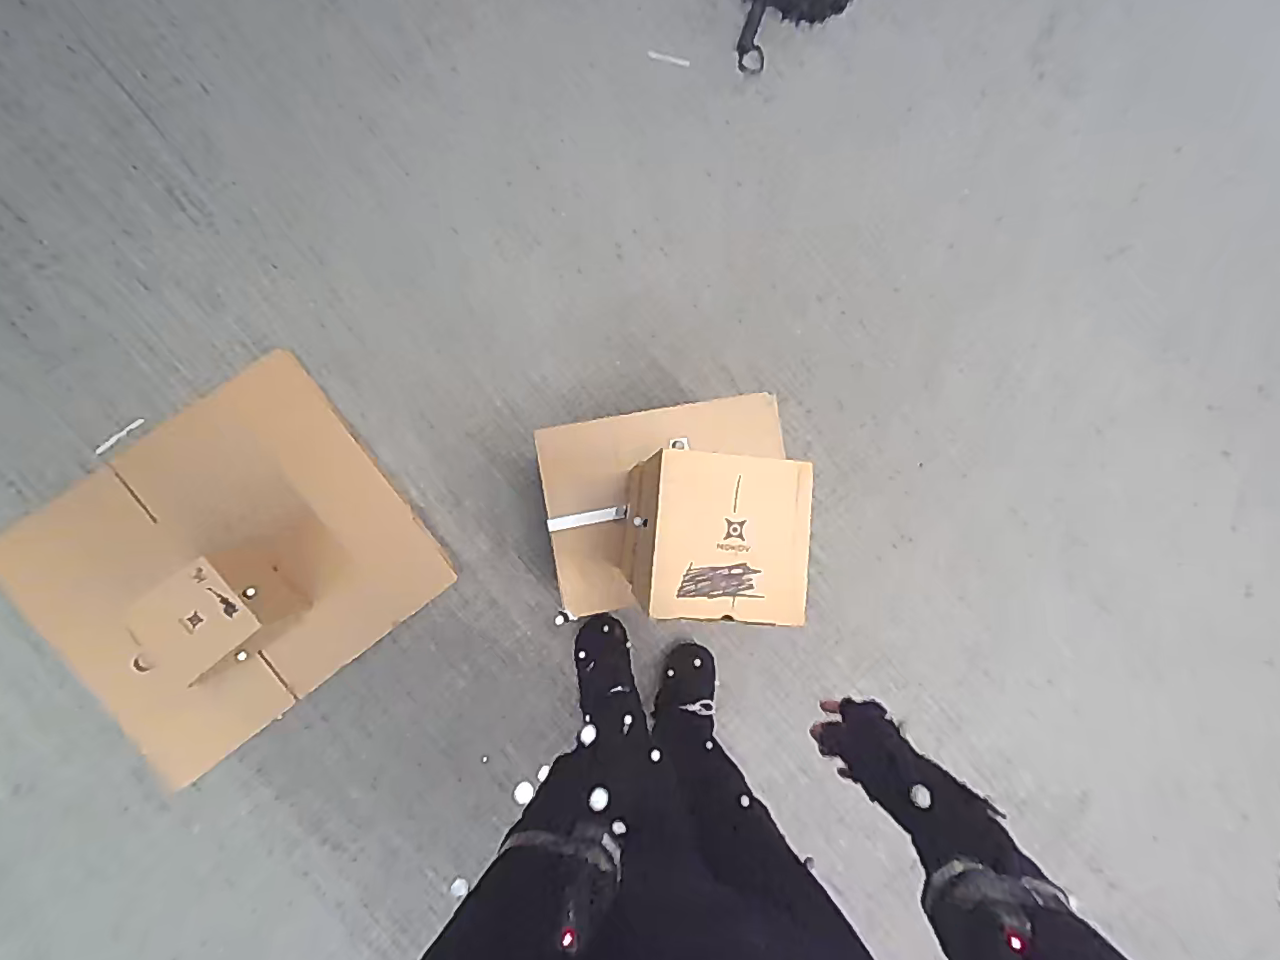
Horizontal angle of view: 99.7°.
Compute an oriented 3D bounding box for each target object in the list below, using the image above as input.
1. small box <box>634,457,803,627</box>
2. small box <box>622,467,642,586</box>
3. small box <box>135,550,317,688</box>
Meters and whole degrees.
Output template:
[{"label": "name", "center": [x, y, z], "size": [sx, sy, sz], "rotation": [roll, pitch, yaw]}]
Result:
[{"label": "small box", "center": [0.083, 0.068, 0.647], "size": [0.168, 0.176, 0.179], "rotation": [2, 87, -6]}, {"label": "small box", "center": [0.070, 0.073, 0.811], "size": [0.179, 0.176, 0.168], "rotation": [5, 86, -4]}, {"label": "small box", "center": [-0.766, 0.251, 1.023], "size": [0.179, 0.176, 0.168], "rotation": [-42, 90, -4]}]
